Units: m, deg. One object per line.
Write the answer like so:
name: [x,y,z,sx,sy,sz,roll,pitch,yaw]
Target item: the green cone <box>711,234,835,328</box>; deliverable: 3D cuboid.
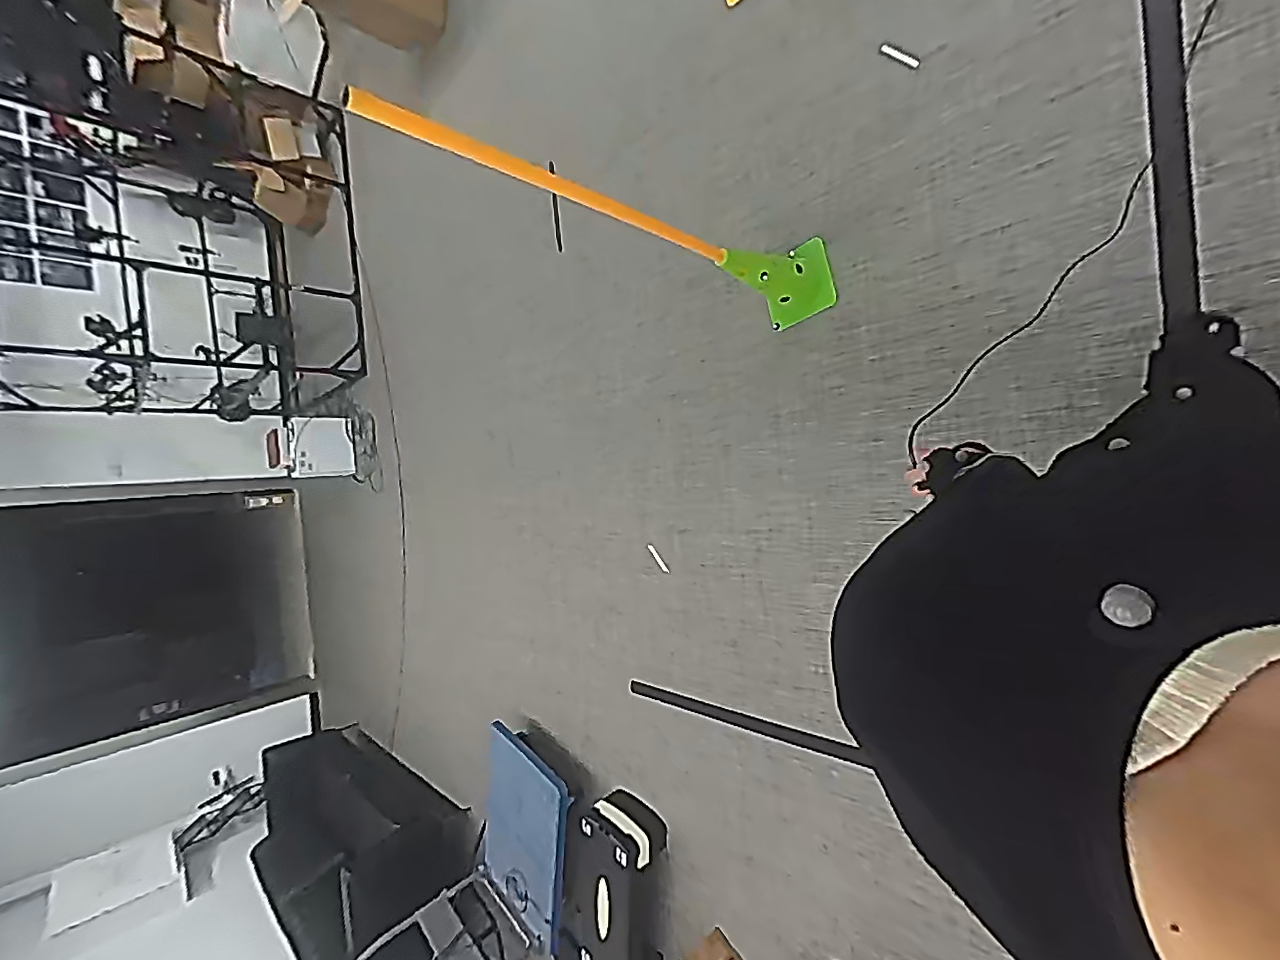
green cone: [0.315,-0.546,1.390,0.200,0.368,0.202,-20,78,45]
